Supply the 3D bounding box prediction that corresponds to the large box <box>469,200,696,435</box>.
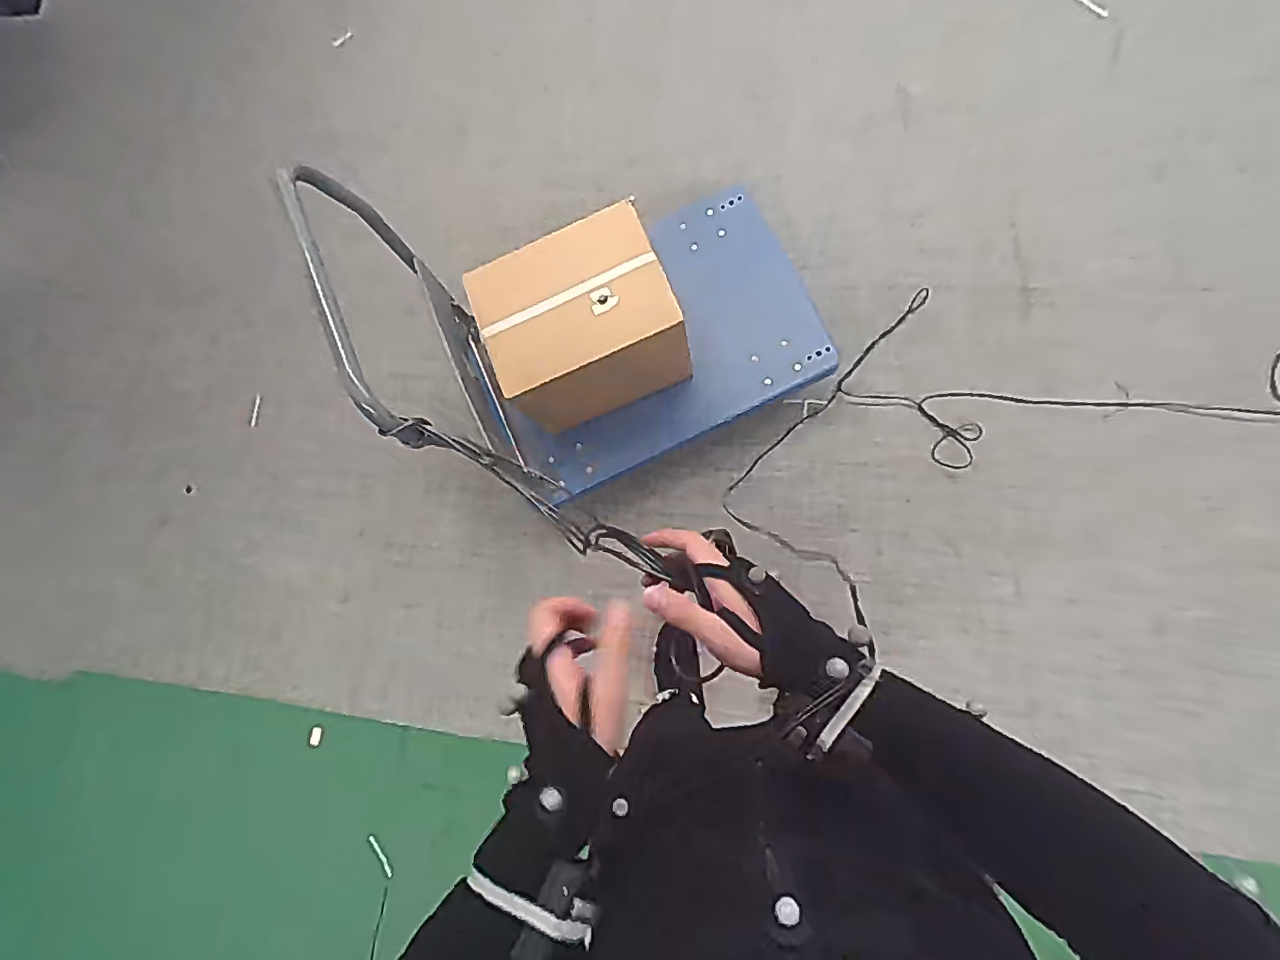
[{"bbox_3d":[-0.114,-0.351,1.263,0.408,0.320,0.320,-23,78,4],"label":"large box"}]
